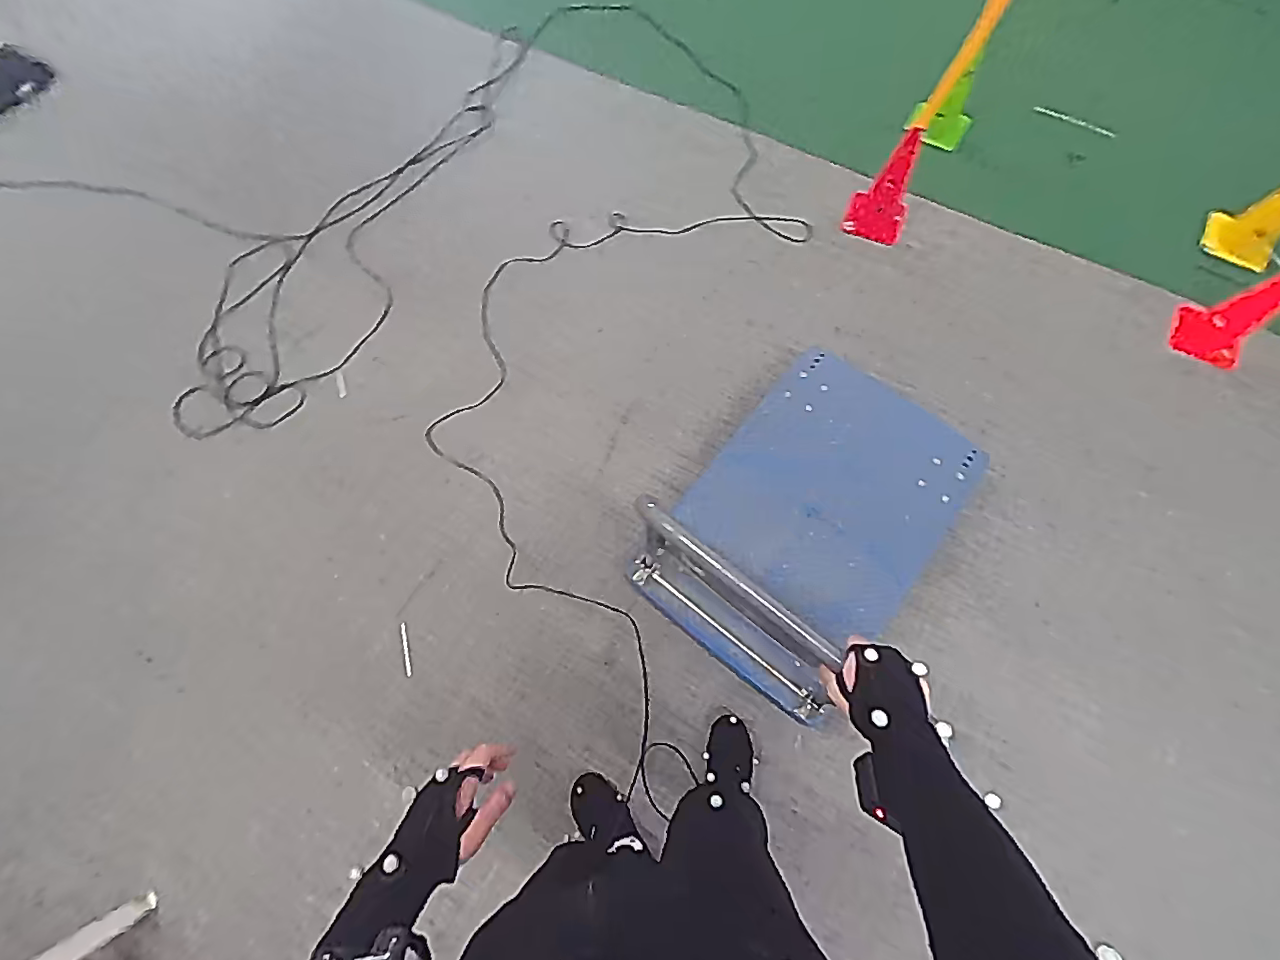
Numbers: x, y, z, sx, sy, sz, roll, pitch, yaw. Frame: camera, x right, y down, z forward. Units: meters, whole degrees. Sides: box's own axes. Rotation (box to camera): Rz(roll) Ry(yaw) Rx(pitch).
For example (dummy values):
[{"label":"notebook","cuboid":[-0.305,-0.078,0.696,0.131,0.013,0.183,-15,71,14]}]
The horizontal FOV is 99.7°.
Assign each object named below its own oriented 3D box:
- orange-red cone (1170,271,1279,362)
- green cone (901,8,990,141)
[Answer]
[{"label":"orange-red cone","cuboid":[1.819,-0.547,1.579,0.198,0.360,0.199,29,71,10]},{"label":"green cone","cuboid":[1.122,-1.450,1.918,0.200,0.368,0.202,28,72,11]}]
